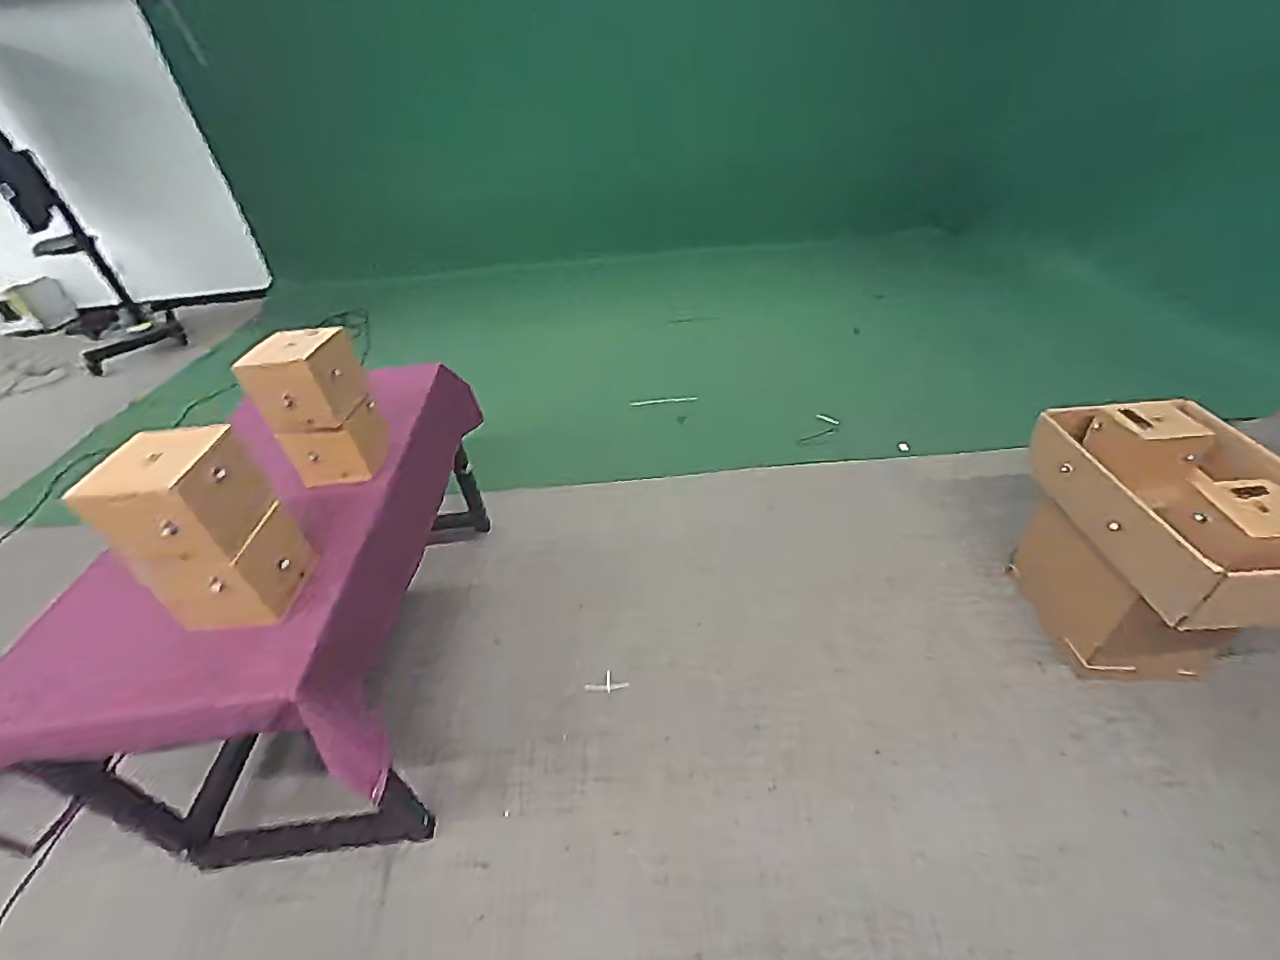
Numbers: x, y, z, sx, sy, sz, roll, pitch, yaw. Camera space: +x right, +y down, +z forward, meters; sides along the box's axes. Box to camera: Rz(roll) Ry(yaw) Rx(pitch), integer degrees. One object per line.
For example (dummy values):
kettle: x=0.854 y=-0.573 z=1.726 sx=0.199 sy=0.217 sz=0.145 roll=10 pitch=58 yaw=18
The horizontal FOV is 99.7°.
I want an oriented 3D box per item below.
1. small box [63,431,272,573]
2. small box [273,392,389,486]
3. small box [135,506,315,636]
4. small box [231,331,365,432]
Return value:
small box: x=-0.770 y=0.041 z=0.911 sx=0.168 sy=0.176 sz=0.179 roll=-6 pitch=38 yaw=0
small box: x=-0.752 y=-0.097 z=1.342 sx=0.168 sy=0.176 sz=0.179 roll=-7 pitch=38 yaw=1
small box: x=-0.753 y=0.171 z=1.009 sx=0.179 sy=0.176 sz=0.168 roll=-6 pitch=38 yaw=2
small box: x=-0.764 y=-0.220 z=1.234 sx=0.168 sy=0.176 sz=0.179 roll=-4 pitch=39 yaw=4
